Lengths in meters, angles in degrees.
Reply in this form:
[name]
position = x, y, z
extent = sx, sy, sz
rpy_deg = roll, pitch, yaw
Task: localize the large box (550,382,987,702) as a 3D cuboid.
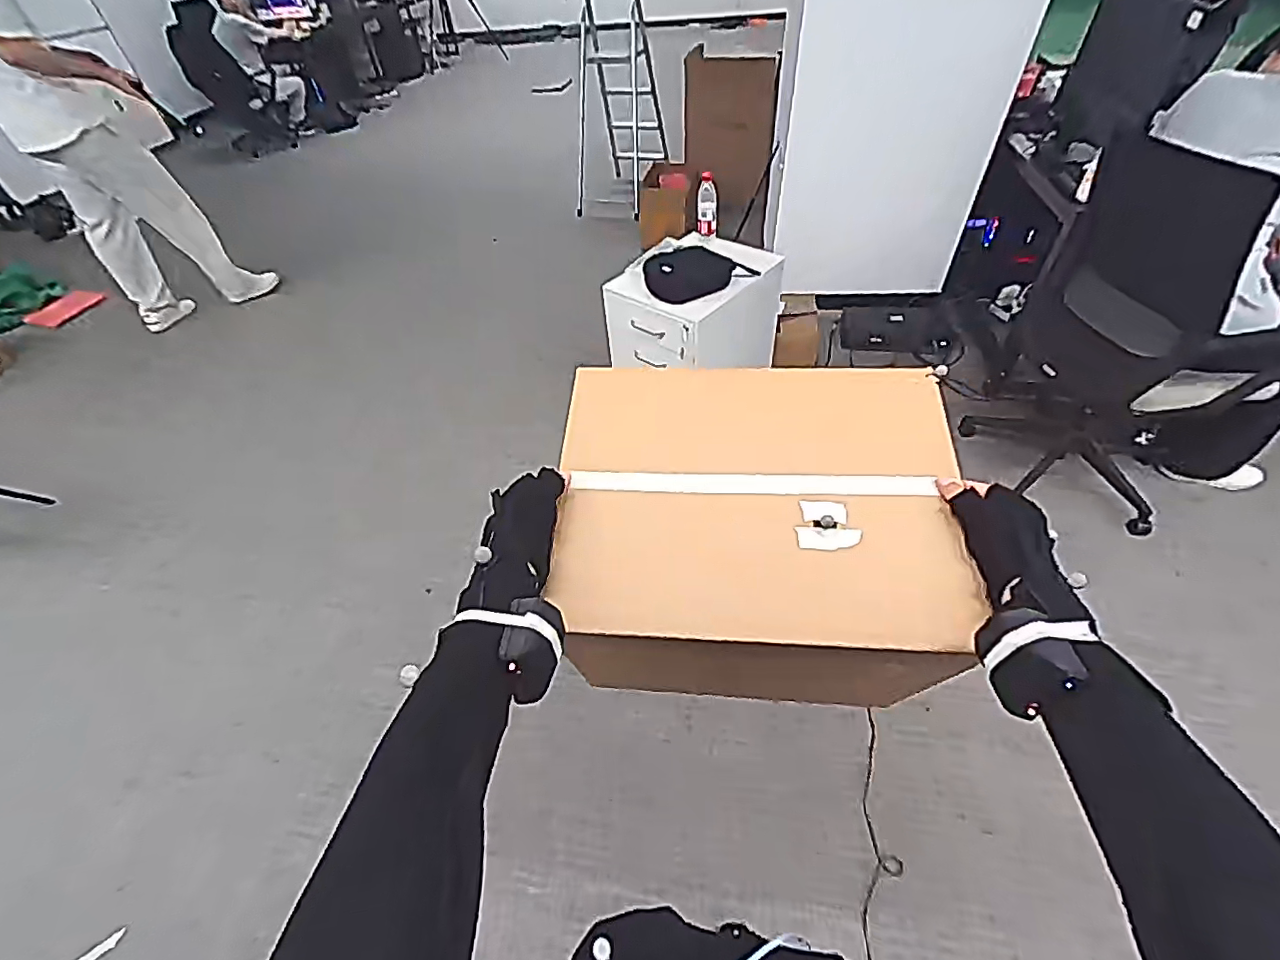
[large box]
position = 0.128, 0.092, 0.694
extent = 0.408, 0.320, 0.320
rpy_deg = 1, 60, 6
